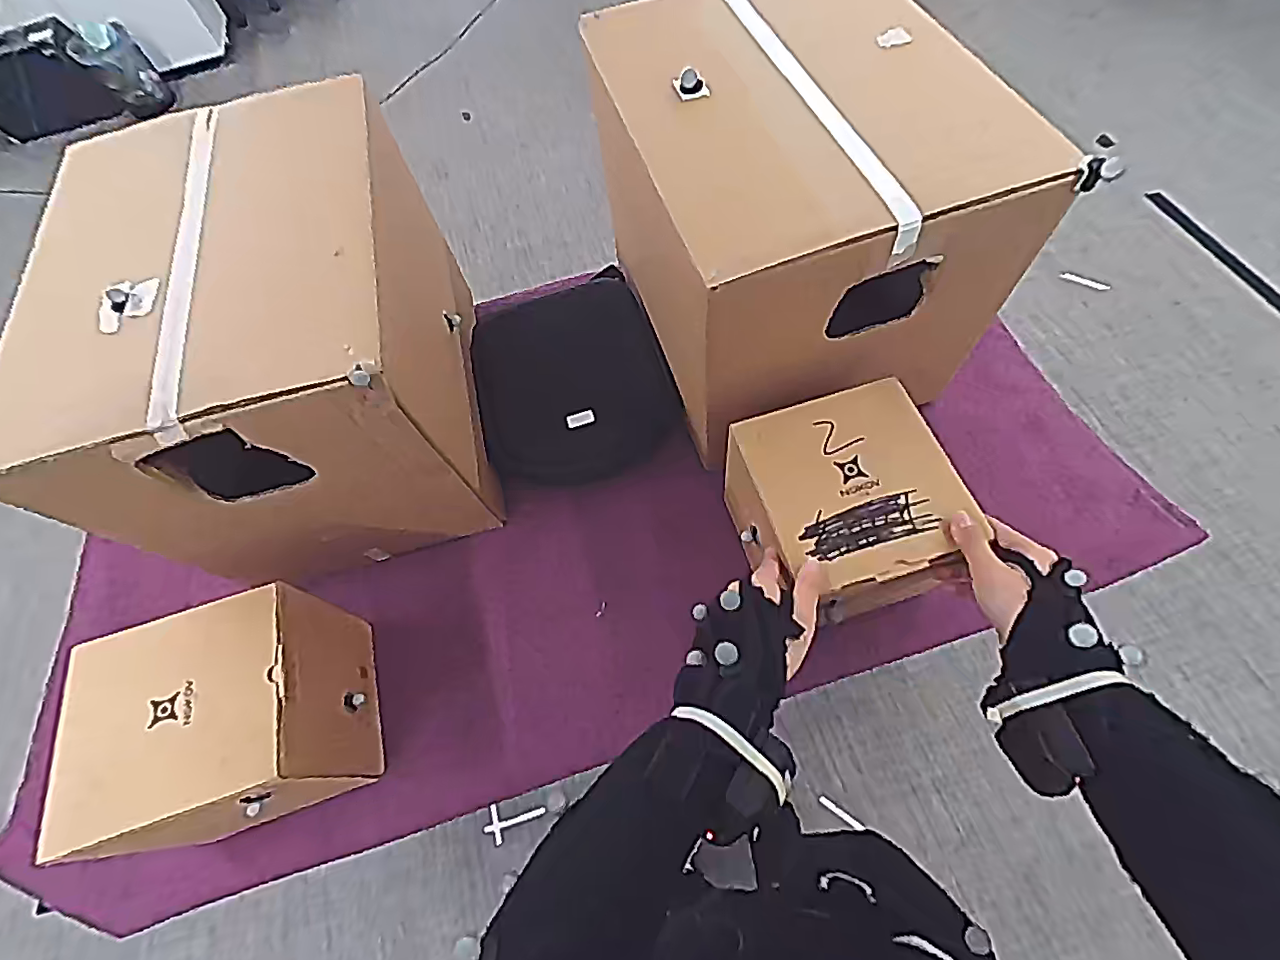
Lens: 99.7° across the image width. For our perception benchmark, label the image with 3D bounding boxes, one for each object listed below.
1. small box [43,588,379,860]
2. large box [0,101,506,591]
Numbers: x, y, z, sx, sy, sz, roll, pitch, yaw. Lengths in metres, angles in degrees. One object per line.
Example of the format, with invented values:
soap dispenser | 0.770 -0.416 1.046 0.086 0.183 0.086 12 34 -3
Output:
small box | -0.379 0.229 0.514 0.179 0.176 0.168 -18 62 -7
large box | -0.375 -0.132 0.622 0.320 0.320 0.408 -16 65 -1
